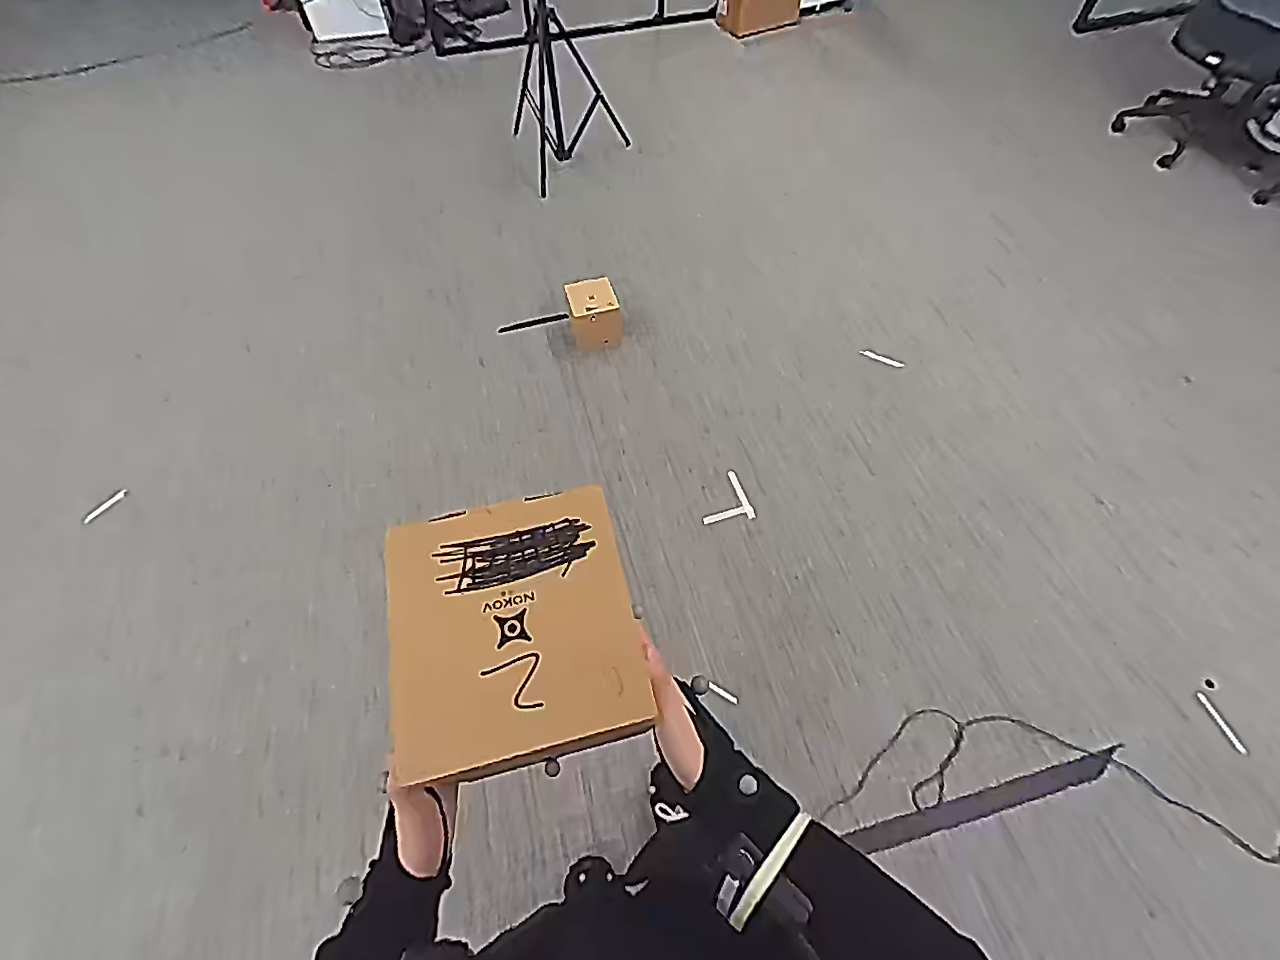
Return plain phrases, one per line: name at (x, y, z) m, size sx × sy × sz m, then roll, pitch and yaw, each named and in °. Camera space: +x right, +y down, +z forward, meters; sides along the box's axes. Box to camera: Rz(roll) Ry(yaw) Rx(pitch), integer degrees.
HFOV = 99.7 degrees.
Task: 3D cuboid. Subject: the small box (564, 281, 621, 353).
small box at (-0.173, -0.596, 1.980) m, size 0.168 × 0.176 × 0.179 m, roll -15°, pitch 58°, yaw -8°
